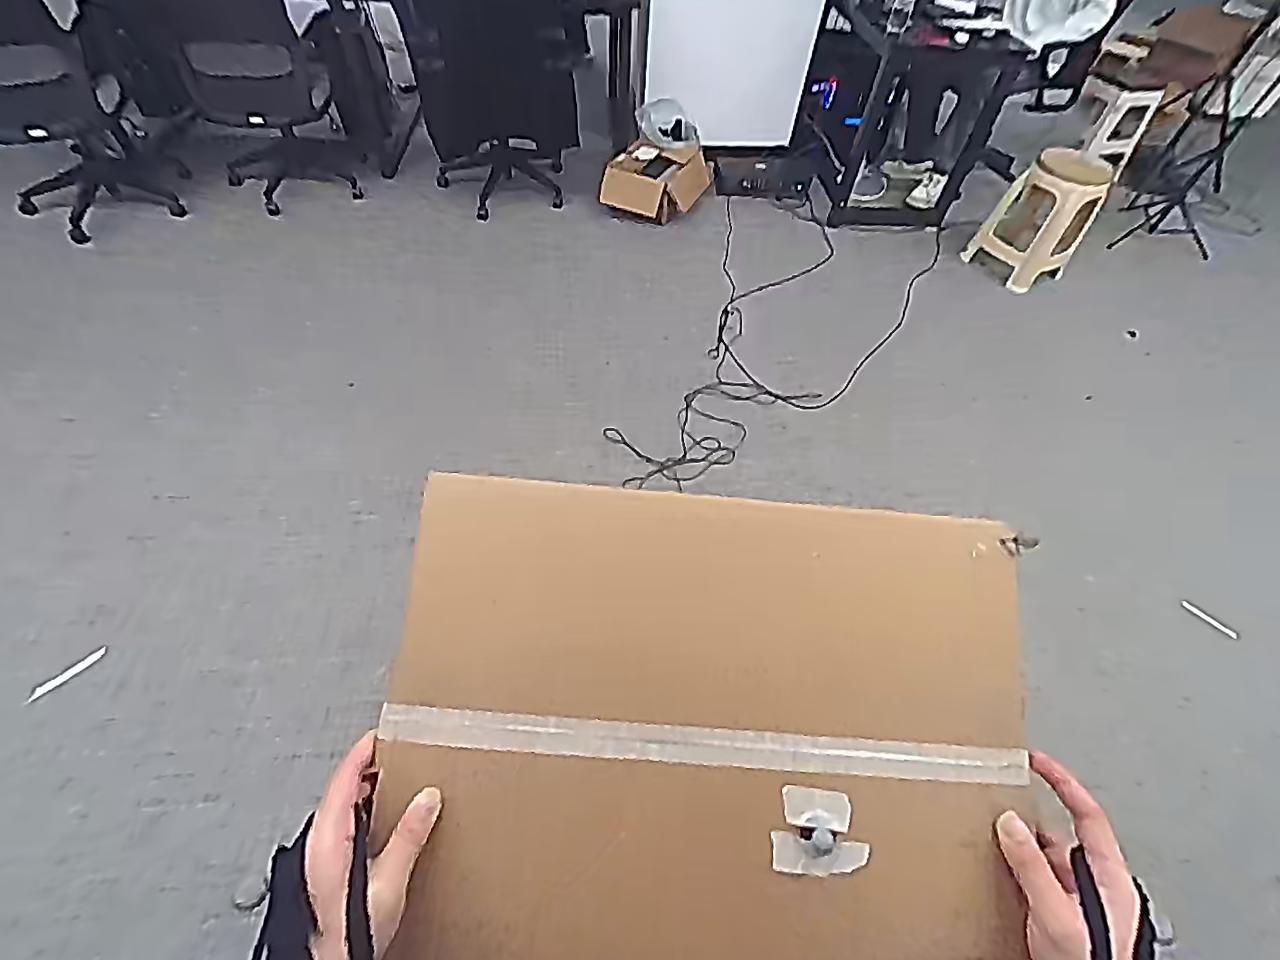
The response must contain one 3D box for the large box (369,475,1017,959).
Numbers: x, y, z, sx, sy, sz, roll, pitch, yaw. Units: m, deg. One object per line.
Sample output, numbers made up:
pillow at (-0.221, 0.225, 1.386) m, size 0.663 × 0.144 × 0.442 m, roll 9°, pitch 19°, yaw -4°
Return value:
large box at (0.036, 0.189, 0.500) m, size 0.408 × 0.320 × 0.320 m, roll 5°, pitch 79°, yaw -2°
